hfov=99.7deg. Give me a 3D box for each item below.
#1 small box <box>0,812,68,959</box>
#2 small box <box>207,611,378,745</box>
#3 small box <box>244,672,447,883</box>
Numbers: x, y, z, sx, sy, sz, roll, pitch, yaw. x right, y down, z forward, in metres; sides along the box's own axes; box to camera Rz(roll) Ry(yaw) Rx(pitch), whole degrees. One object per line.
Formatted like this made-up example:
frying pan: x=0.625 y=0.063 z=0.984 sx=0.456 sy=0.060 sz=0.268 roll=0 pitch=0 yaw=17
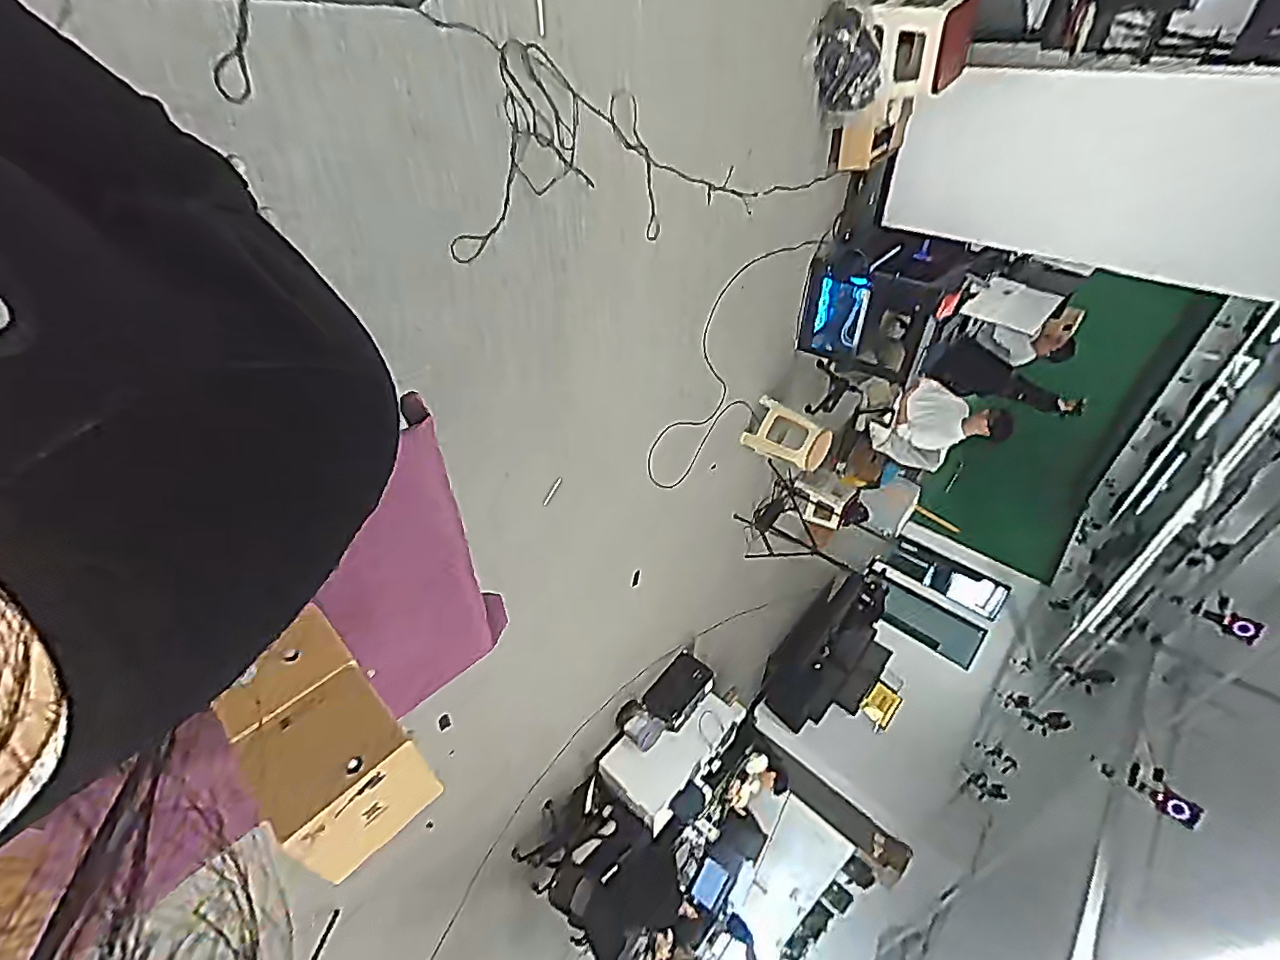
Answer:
small box: x=-0.799 y=0.489 z=0.592 sx=0.179 sy=0.176 sz=0.168 roll=-32 pitch=137 yaw=-36
small box: x=-0.524 y=0.331 z=0.842 sx=0.168 sy=0.176 sz=0.179 roll=-35 pitch=141 yaw=-34
small box: x=-0.405 y=0.407 z=0.758 sx=0.168 sy=0.176 sz=0.179 roll=-36 pitch=142 yaw=-33
